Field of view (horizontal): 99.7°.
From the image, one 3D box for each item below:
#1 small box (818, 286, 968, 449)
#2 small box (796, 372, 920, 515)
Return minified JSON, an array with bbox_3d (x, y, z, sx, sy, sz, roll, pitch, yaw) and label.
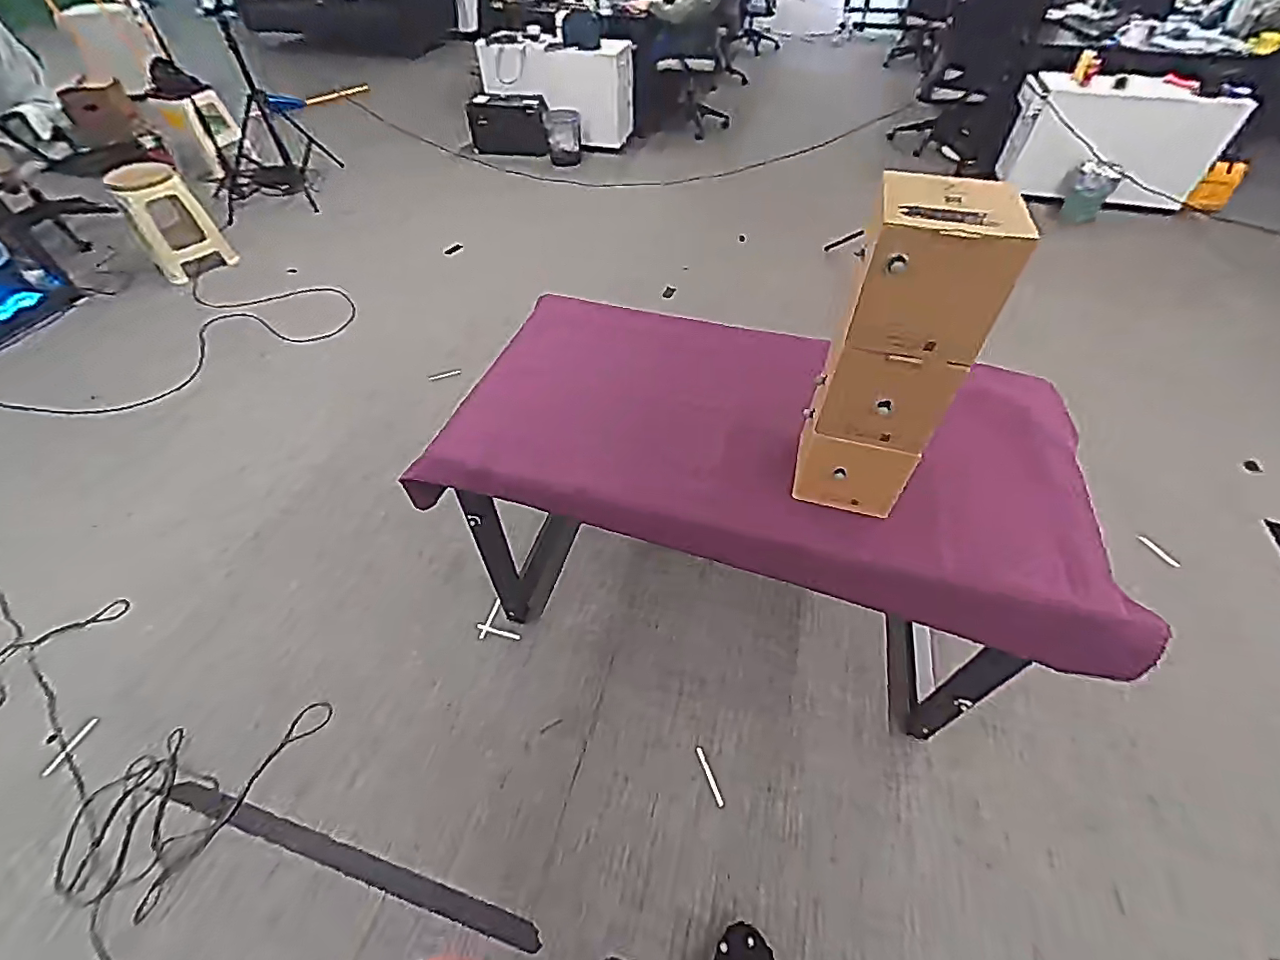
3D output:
[{"bbox_3d":[0.383,-0.172,0.841,0.168,0.176,0.179,13,51,12],"label":"small box"},{"bbox_3d":[0.381,-0.062,0.962,0.168,0.176,0.179,13,50,11],"label":"small box"}]
